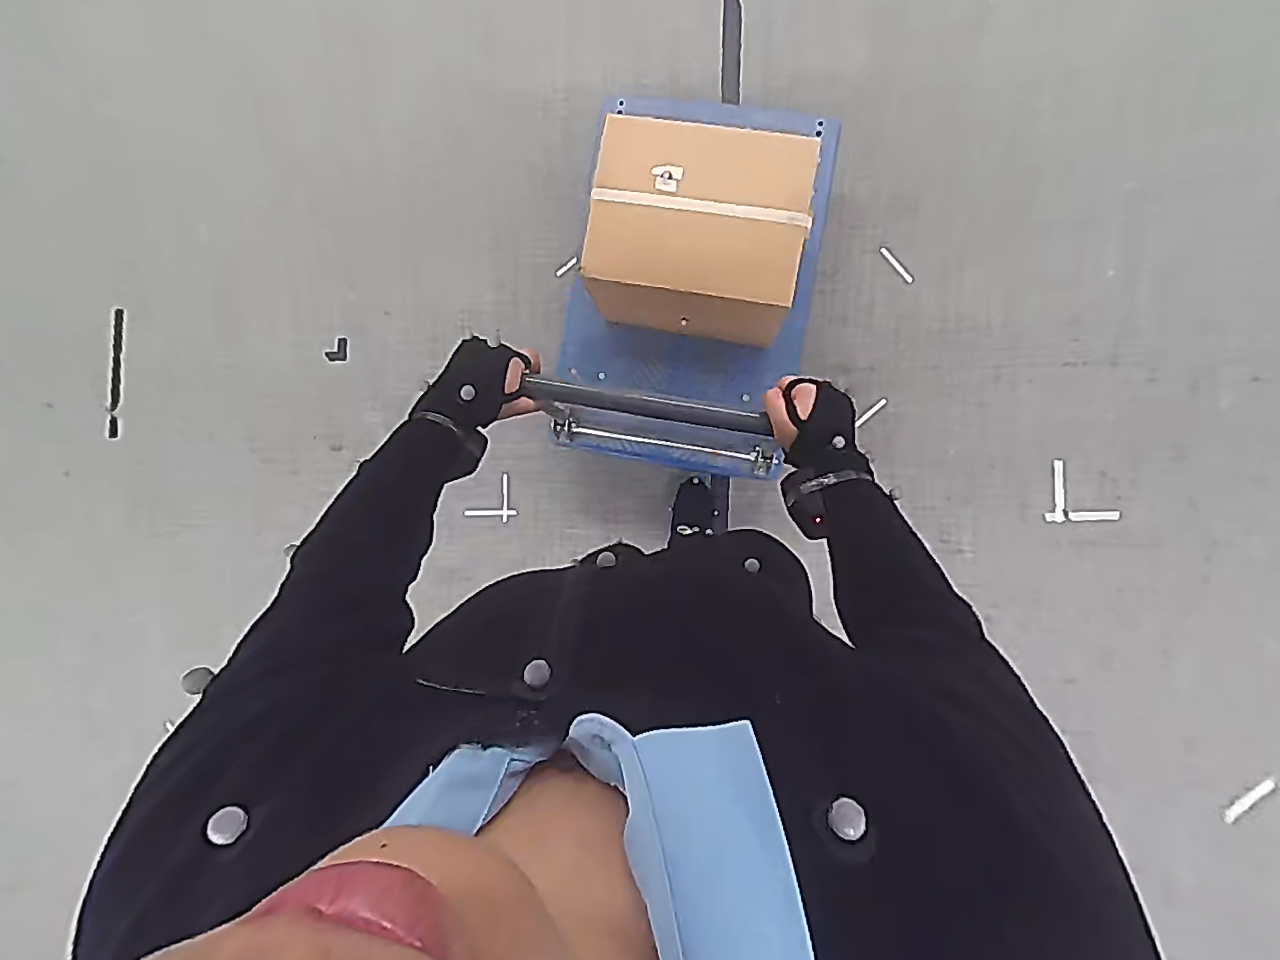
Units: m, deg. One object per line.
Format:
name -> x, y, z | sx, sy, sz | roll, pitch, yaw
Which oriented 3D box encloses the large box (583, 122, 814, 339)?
large box -> 0.125, -0.514, 1.173 | 0.408, 0.320, 0.320 | 10, 90, 7
